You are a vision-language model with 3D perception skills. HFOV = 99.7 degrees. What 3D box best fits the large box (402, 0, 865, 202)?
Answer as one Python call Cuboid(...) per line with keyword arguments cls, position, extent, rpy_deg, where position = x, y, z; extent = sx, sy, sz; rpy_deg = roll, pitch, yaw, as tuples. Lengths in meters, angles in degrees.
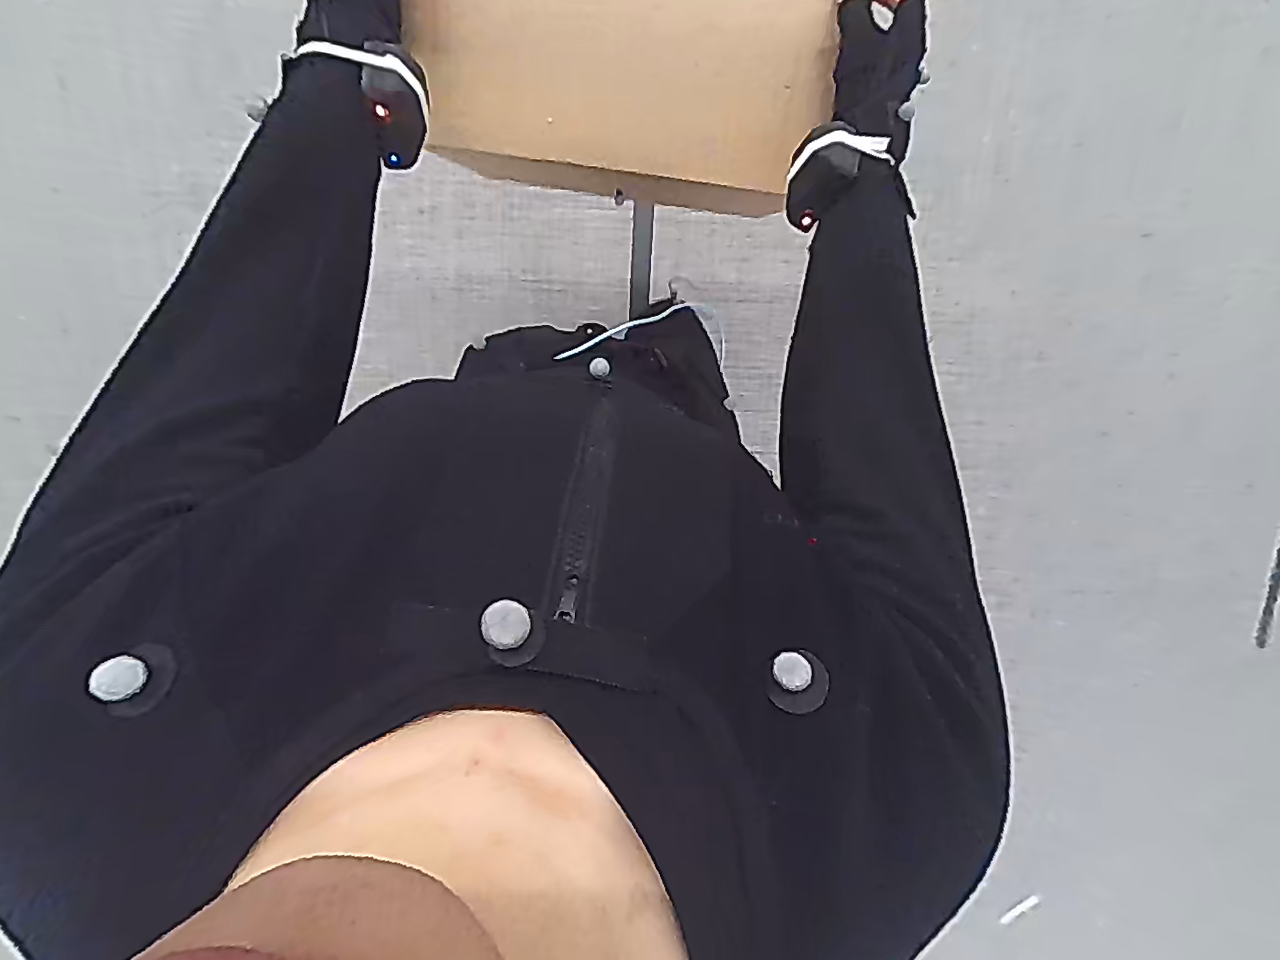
Cuboid(cls="large box", position=(0.002, -0.503, 0.587), extent=(0.408, 0.320, 0.320), rpy_deg=(7, 113, -3))
